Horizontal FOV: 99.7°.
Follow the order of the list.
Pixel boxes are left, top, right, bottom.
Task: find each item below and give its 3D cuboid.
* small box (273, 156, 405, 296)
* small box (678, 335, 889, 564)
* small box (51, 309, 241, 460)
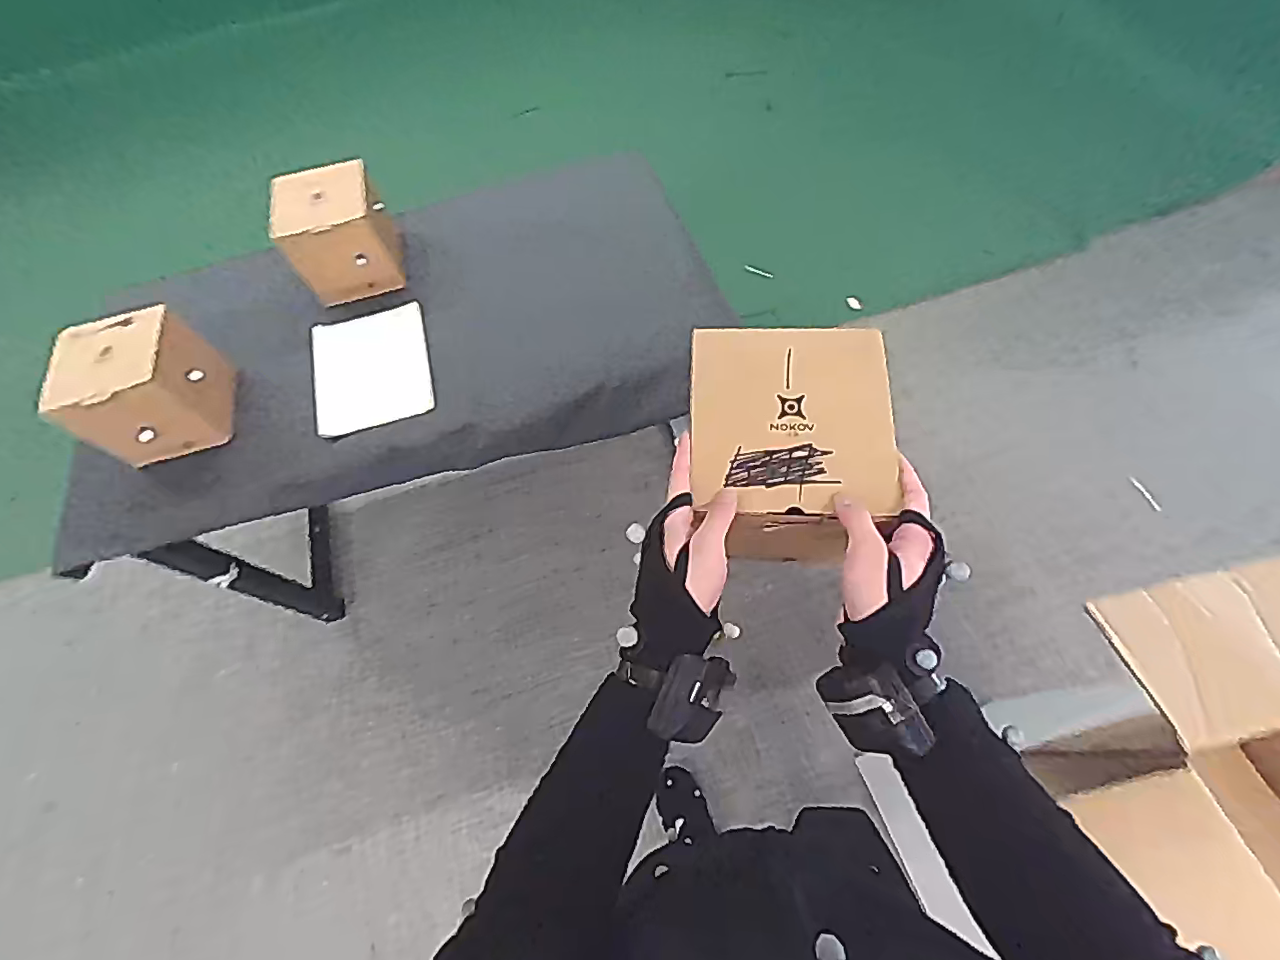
[{"bbox_3d":[-0.575,-0.481,1.048,0.168,0.176,0.179,-16,63,-5],"label":"small box"},{"bbox_3d":[0.122,-0.019,0.526,0.168,0.176,0.179,1,69,4],"label":"small box"},{"bbox_3d":[-0.819,-0.152,0.919,0.168,0.176,0.179,-16,63,-5],"label":"small box"}]
